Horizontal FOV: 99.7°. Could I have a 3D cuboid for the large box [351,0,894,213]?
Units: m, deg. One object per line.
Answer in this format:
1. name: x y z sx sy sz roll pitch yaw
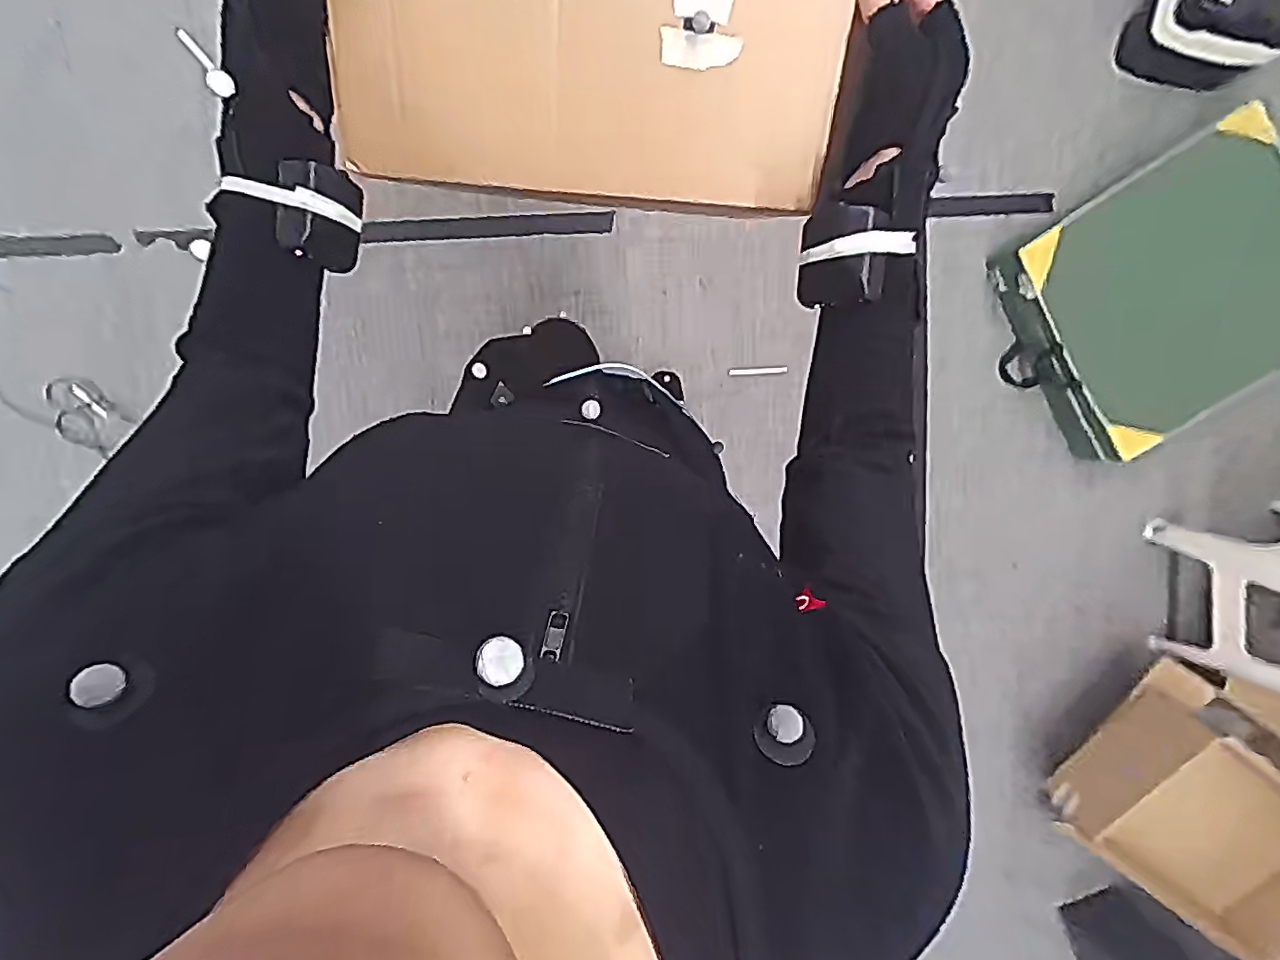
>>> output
1. large box: -0.014 -0.441 0.516 0.408 0.320 0.320 3 116 -3
